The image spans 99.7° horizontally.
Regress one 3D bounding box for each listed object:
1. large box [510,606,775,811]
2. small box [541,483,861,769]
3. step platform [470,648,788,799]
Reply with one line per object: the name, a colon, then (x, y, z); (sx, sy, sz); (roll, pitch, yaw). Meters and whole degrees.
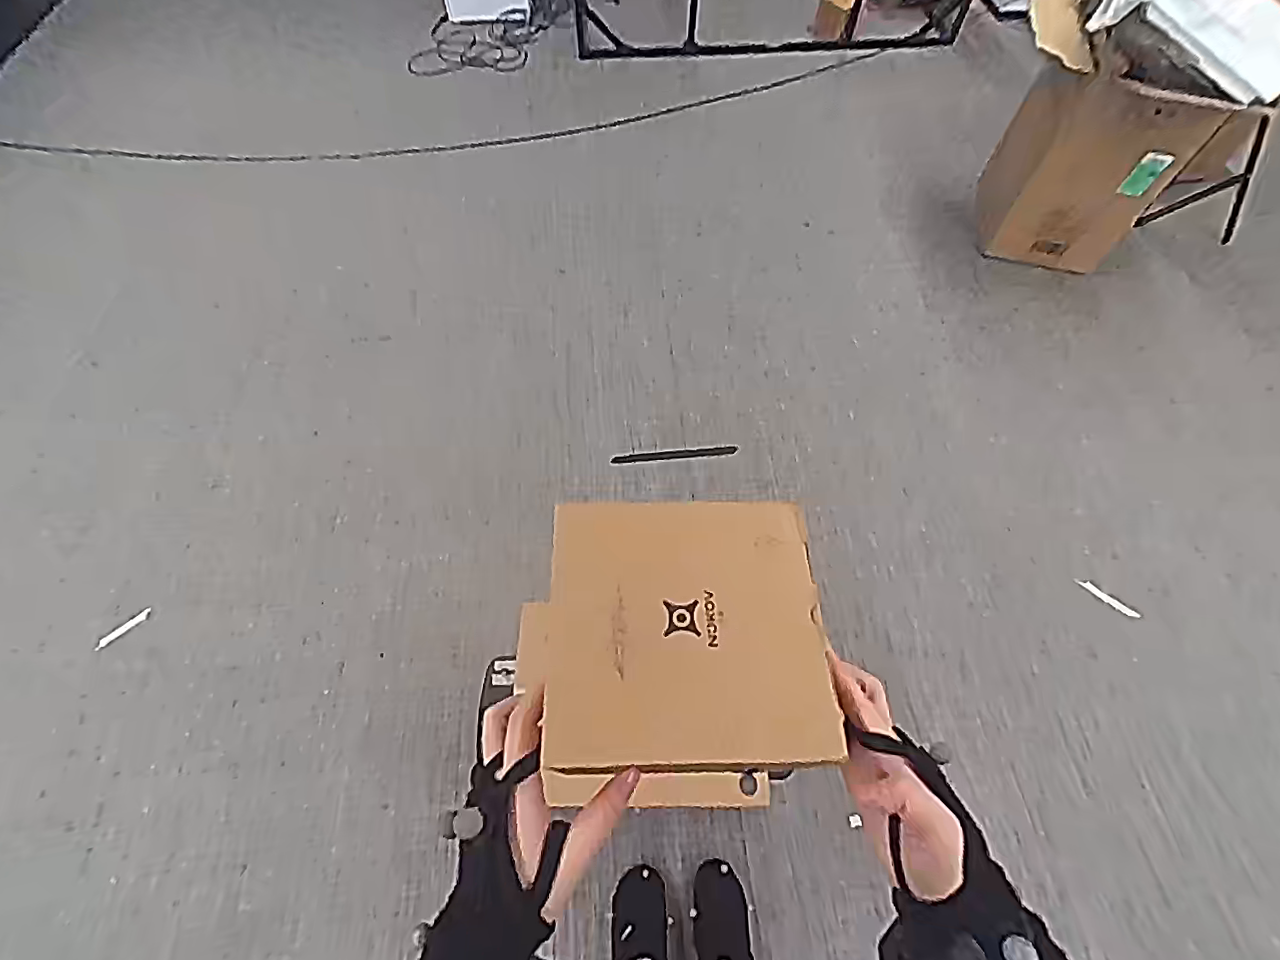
large box: (0.005, 0.421, 1.003); (0.408, 0.320, 0.320); (-1, 60, 1)
small box: (0.031, 0.114, 0.396); (0.179, 0.176, 0.168); (0, 60, -2)
step platform: (-0.020, 0.541, 1.209); (0.684, 0.204, 0.286); (1, 61, 2)
